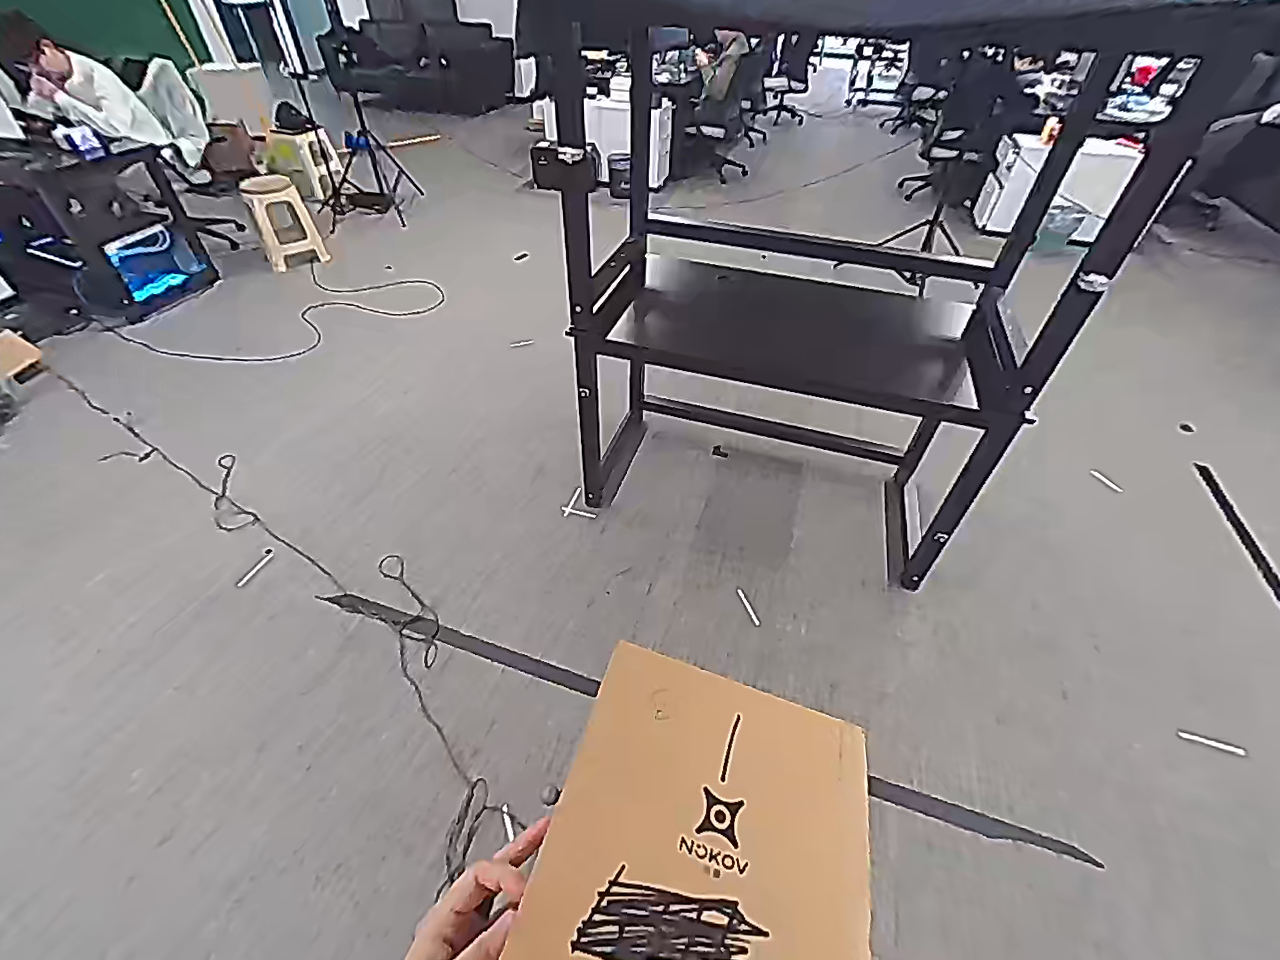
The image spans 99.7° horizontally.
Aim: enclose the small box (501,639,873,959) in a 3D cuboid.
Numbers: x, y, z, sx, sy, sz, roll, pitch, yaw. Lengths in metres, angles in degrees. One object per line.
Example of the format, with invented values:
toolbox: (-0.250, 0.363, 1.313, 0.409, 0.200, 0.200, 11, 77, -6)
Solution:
small box: (0.027, 0.239, 0.337, 0.168, 0.176, 0.179, 19, 43, 5)
